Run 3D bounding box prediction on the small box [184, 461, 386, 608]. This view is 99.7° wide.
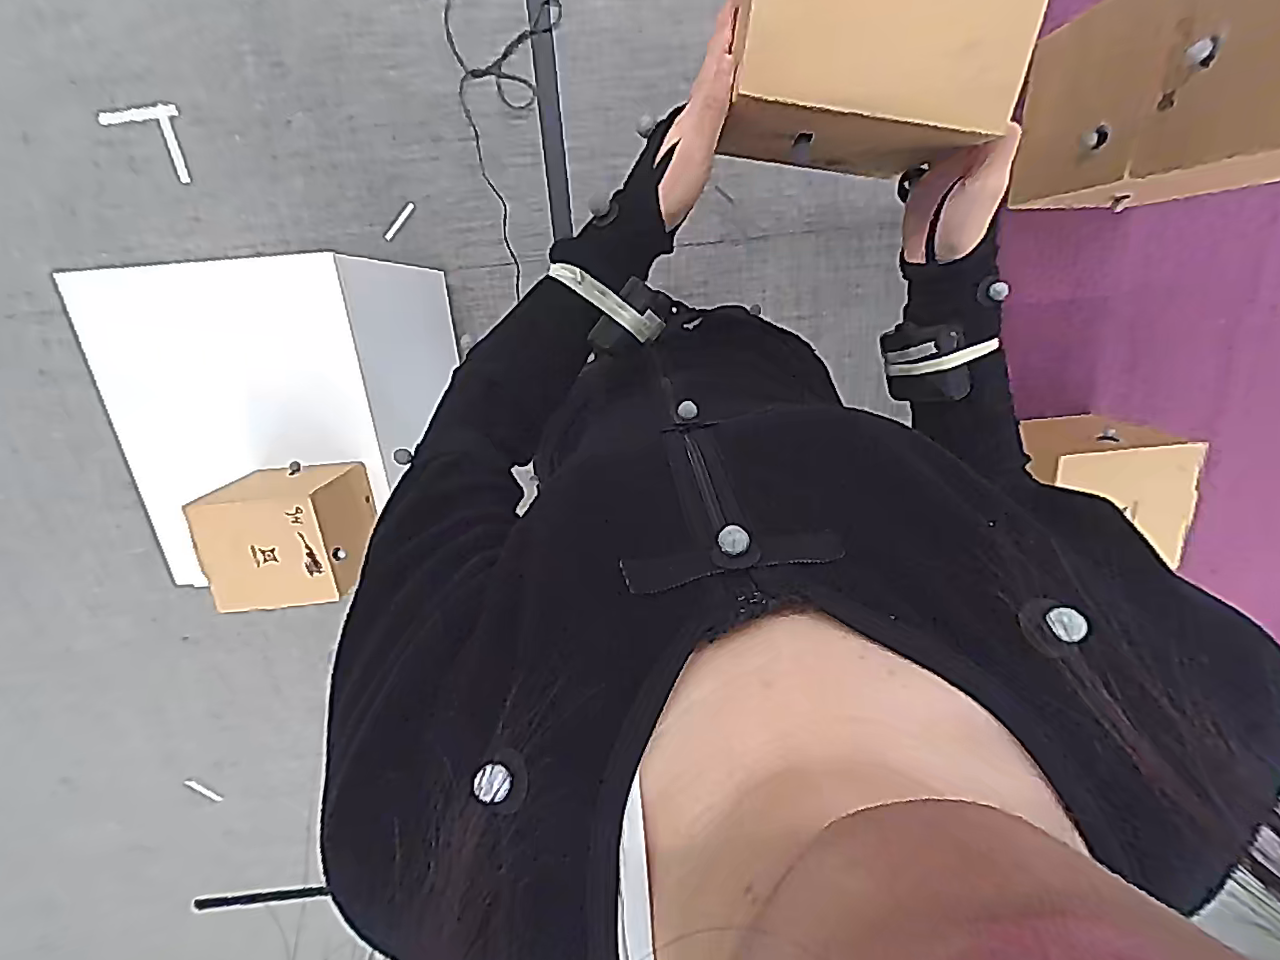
[{"bbox_3d":[-0.521,0.076,0.821,0.179,0.176,0.168,-5,108,0],"label":"small box"}]

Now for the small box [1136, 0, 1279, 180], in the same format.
[{"bbox_3d":[0.560,-0.342,0.419,0.179,0.176,0.168,-2,109,-1],"label":"small box"}]

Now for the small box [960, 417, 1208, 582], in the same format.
[{"bbox_3d":[0.565,0.017,0.715,0.179,0.176,0.168,-5,107,0],"label":"small box"}]

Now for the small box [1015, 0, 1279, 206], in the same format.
[{"bbox_3d":[0.542,-0.397,0.573,0.168,0.176,0.179,-2,108,-3],"label":"small box"}]

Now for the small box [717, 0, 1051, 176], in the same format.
[{"bbox_3d":[0.150,-0.322,0.363,0.168,0.176,0.179,7,109,-1],"label":"small box"}]
